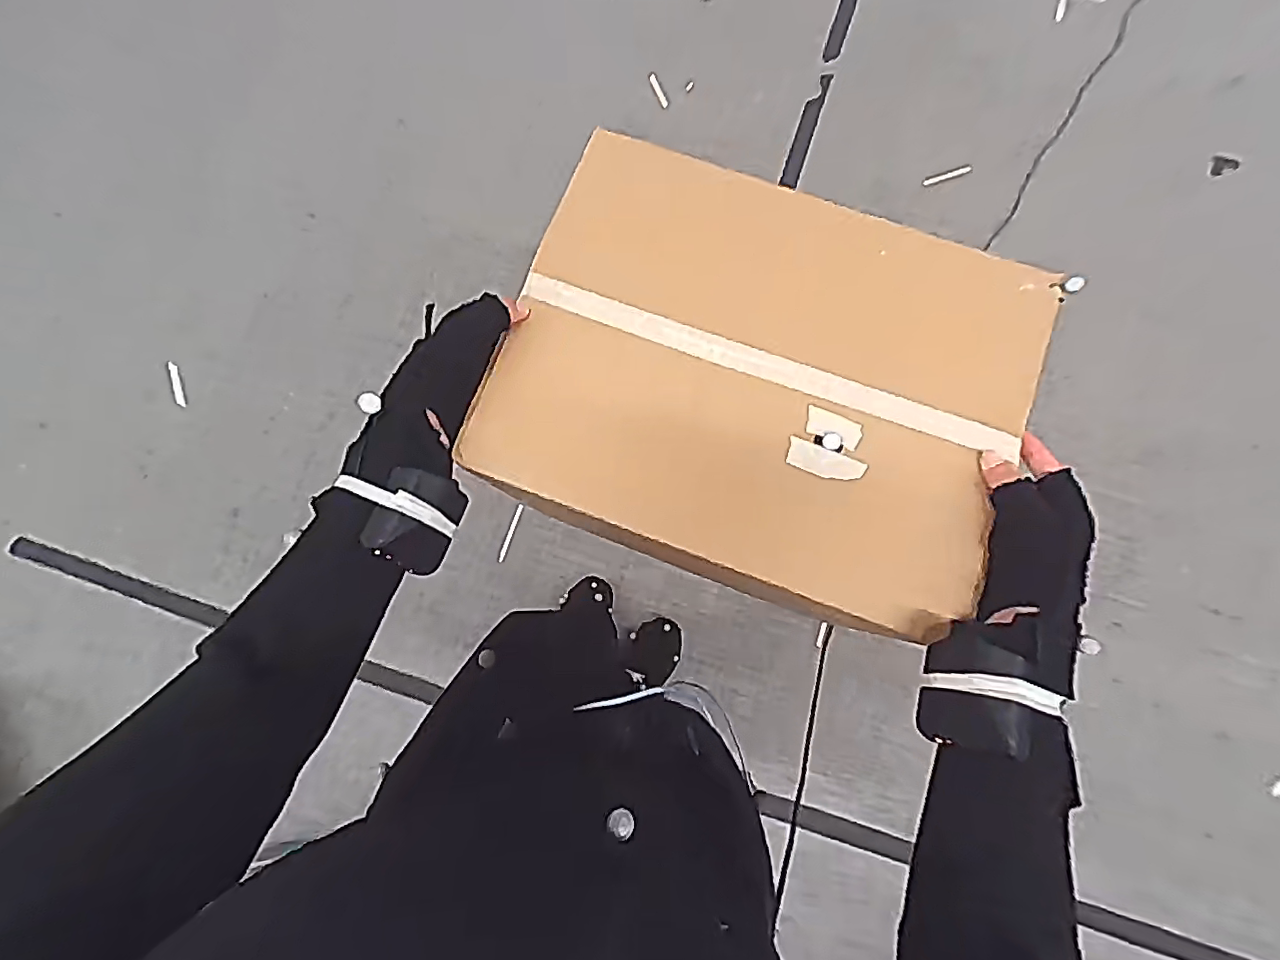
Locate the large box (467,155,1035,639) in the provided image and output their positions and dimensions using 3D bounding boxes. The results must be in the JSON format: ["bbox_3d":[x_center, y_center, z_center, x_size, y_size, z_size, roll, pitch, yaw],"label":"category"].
[{"bbox_3d":[0.095,-0.058,0.586,0.408,0.320,0.320,20,81,3],"label":"large box"}]
